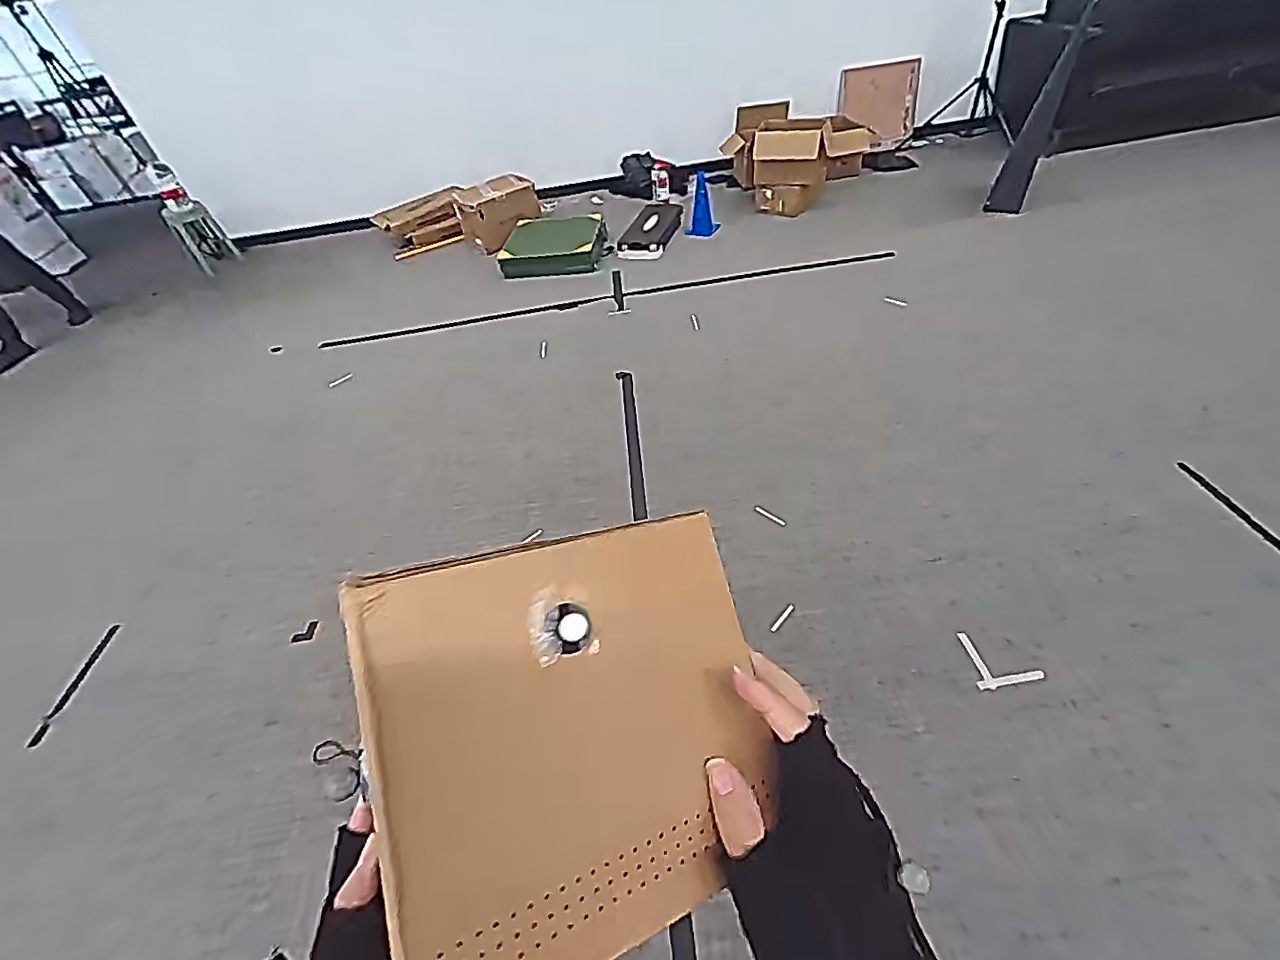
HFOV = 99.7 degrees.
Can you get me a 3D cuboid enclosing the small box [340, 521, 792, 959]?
[{"bbox_3d":[-0.049,0.136,0.298,0.179,0.168,0.176,-9,77,-27],"label":"small box"}]
